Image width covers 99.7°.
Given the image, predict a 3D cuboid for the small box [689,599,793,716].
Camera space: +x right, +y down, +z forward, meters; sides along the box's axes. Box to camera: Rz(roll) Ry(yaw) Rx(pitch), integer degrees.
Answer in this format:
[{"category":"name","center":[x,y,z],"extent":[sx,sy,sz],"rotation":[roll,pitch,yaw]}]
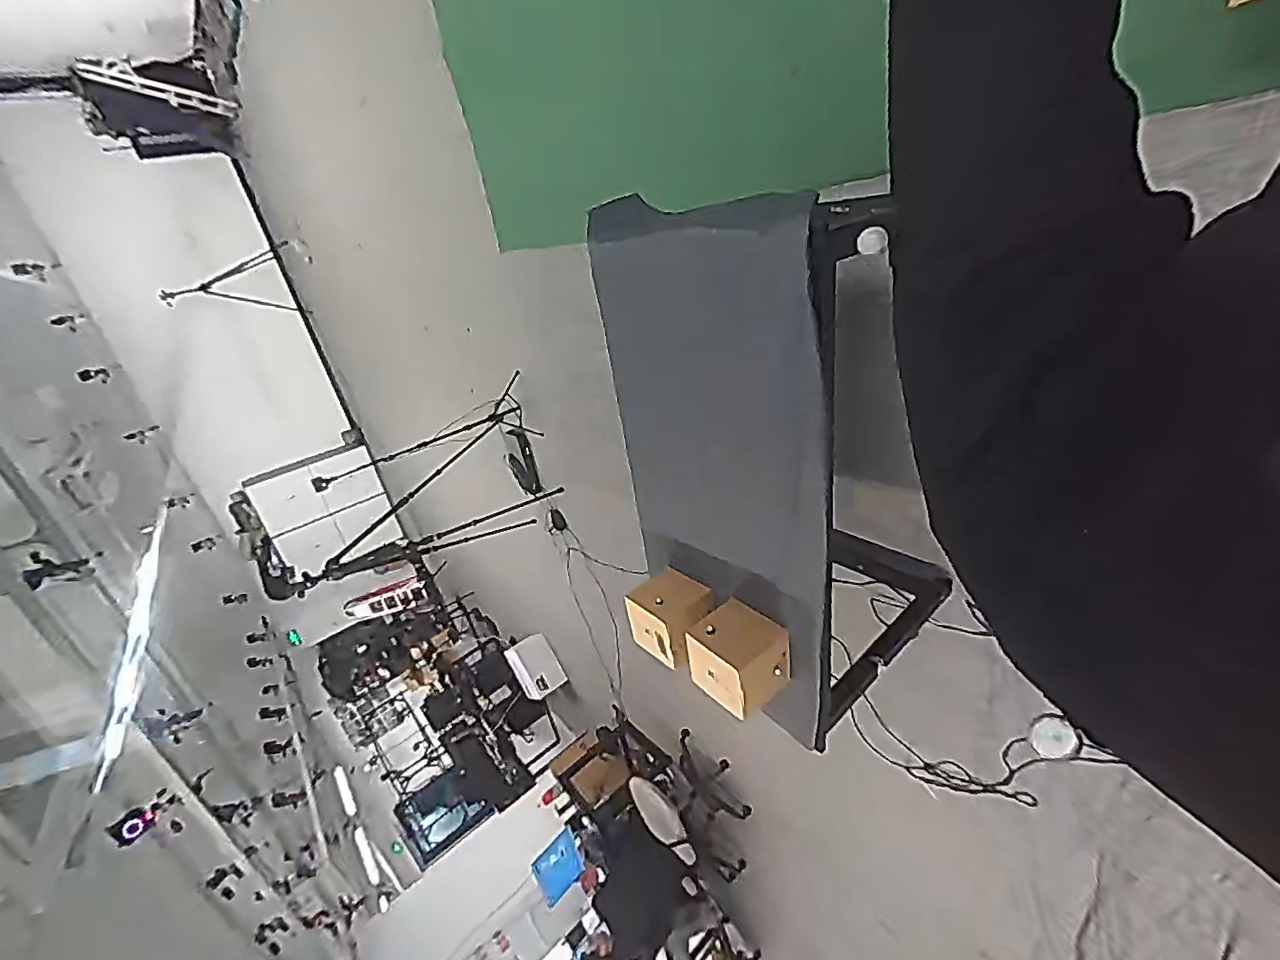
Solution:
[{"category":"small box","center":[0.243,0.412,1.294],"extent":[0.179,0.176,0.168],"rotation":[24,133,47]}]

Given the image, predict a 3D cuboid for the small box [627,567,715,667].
[{"category":"small box","center":[0.095,0.363,1.472],"extent":[0.179,0.176,0.168],"rotation":[21,131,48]}]
